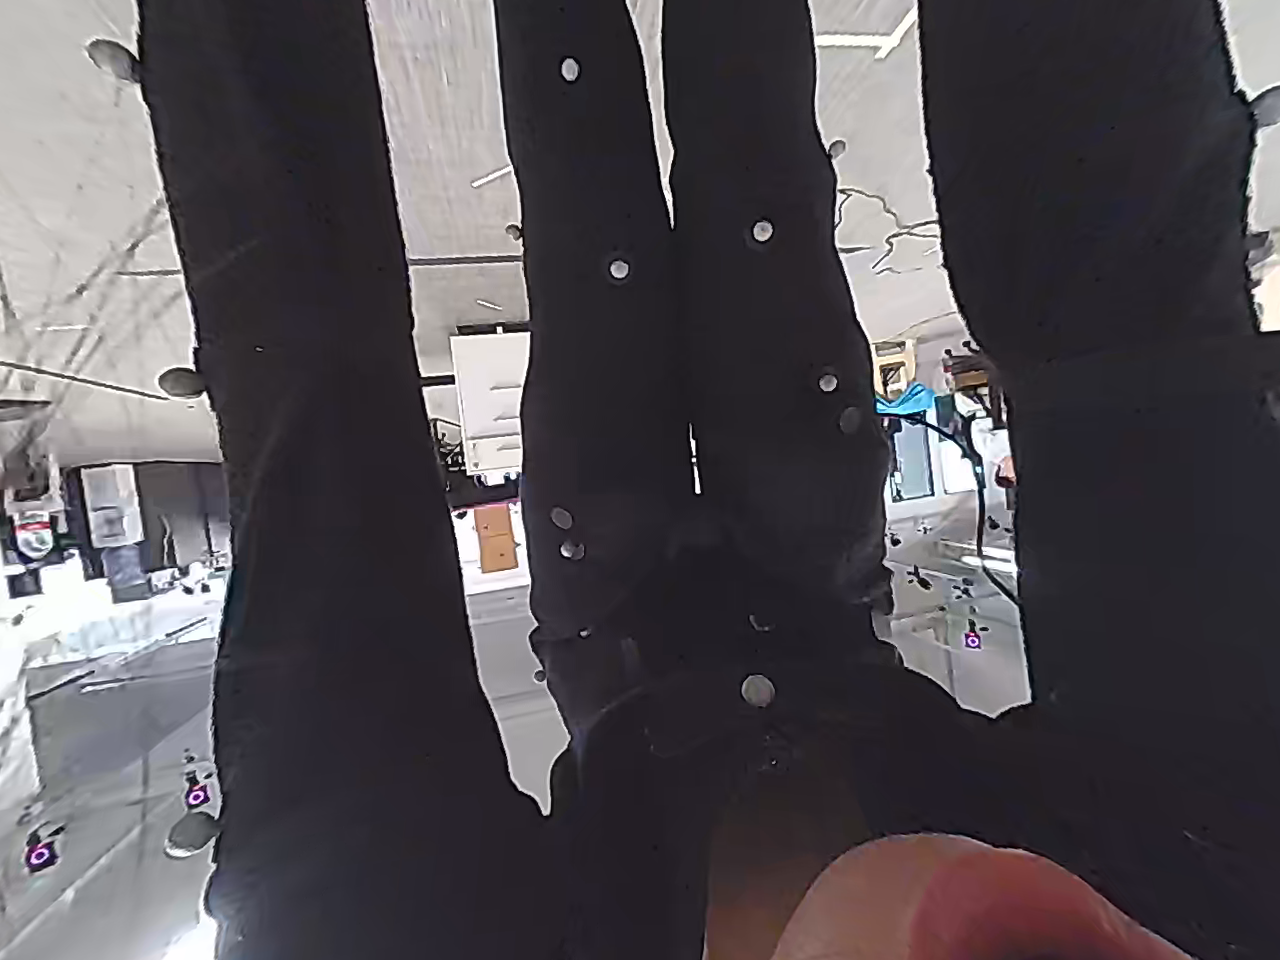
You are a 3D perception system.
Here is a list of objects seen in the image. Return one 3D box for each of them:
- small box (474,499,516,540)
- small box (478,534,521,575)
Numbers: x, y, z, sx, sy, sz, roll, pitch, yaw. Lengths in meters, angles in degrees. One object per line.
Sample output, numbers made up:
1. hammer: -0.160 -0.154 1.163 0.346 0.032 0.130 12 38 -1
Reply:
1. small box: -0.706 0.189 2.620 0.179 0.176 0.168 -8 -179 -17
2. small box: -0.684 0.352 2.626 0.179 0.176 0.168 -9 -179 -18
